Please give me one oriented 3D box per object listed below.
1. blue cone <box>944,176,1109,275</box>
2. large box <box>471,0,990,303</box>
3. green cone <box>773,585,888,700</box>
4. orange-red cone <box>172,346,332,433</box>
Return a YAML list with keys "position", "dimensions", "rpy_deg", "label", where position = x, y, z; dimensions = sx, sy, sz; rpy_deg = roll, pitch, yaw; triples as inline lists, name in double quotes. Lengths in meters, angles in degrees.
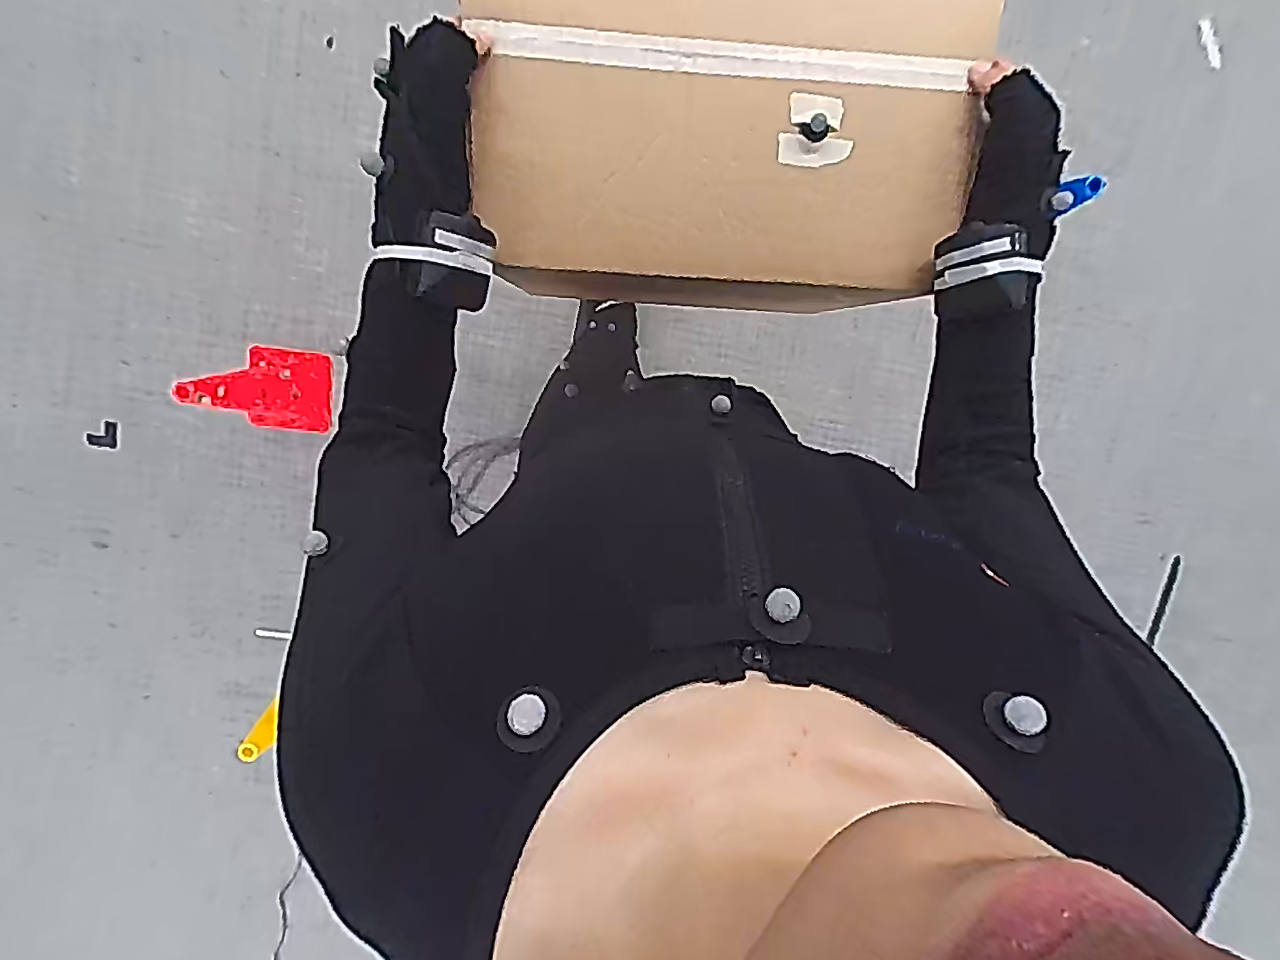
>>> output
- position: [0.876, -0.611, 1.236]
  dimensions: [0.192, 0.380, 0.193]
  rpy_deg: [13, 99, -7]
  label: "blue cone"
- position: [0.060, -0.364, 0.562]
  dimensions: [0.408, 0.320, 0.320]
  rpy_deg: [2, 104, -4]
  label: "large box"
- position: [0.519, 0.453, 1.387]
  dimensions: [0.202, 0.368, 0.200]
  rpy_deg: [-27, 101, 0]
  label: "green cone"
- position: [-0.863, -0.190, 1.182]
  dimensions: [0.198, 0.360, 0.199]
  rpy_deg: [8, 101, -4]
  label: "orange-red cone"
